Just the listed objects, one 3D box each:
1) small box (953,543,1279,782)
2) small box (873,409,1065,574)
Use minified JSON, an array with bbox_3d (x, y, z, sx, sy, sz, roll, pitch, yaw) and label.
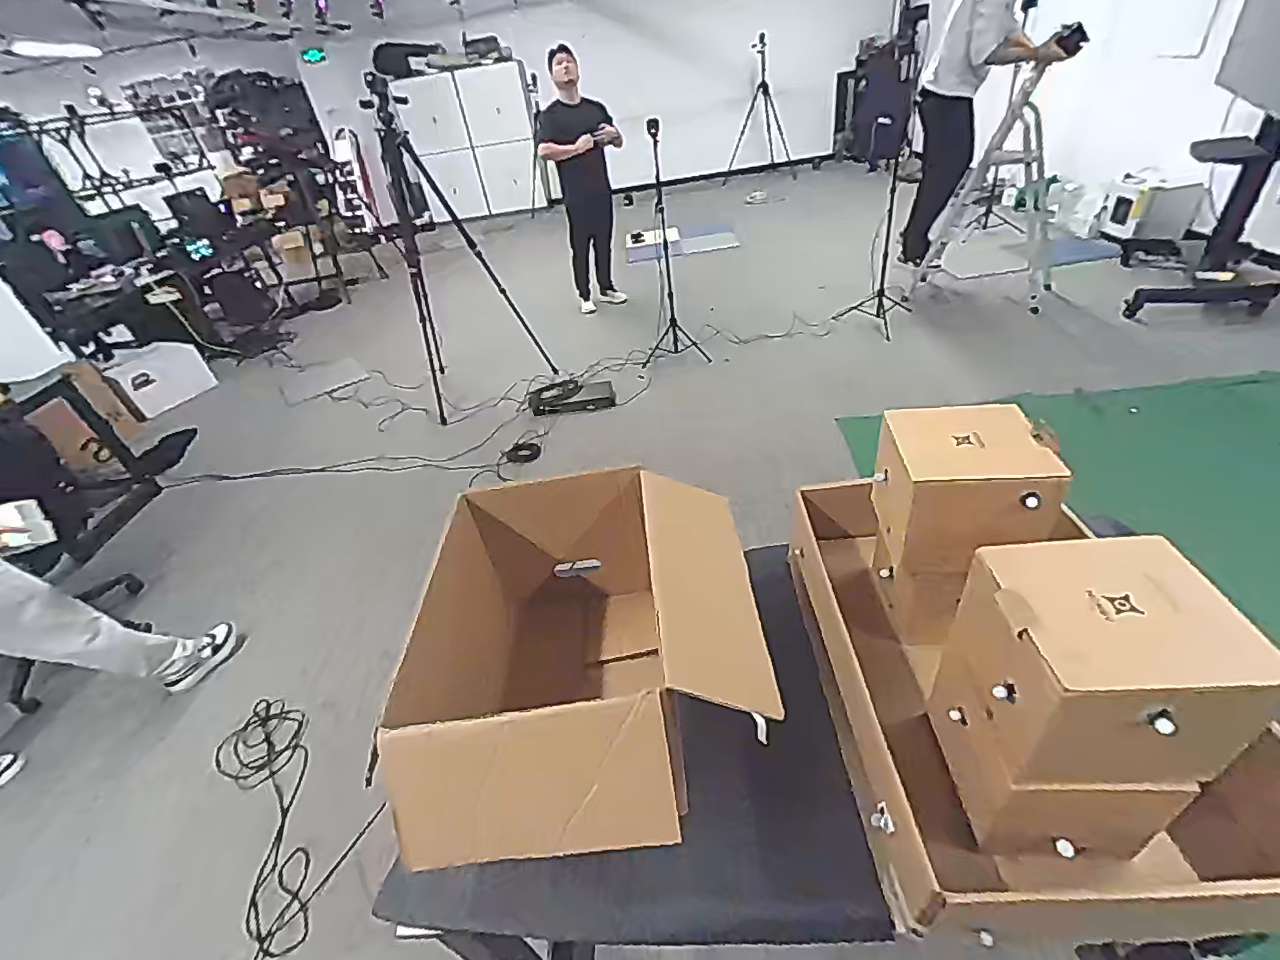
[{"bbox_3d":[0.440,0.184,0.543,0.179,0.176,0.168,-4,38,7],"label":"small box"},{"bbox_3d":[0.435,0.018,0.756,0.179,0.176,0.168,-1,39,10],"label":"small box"}]
